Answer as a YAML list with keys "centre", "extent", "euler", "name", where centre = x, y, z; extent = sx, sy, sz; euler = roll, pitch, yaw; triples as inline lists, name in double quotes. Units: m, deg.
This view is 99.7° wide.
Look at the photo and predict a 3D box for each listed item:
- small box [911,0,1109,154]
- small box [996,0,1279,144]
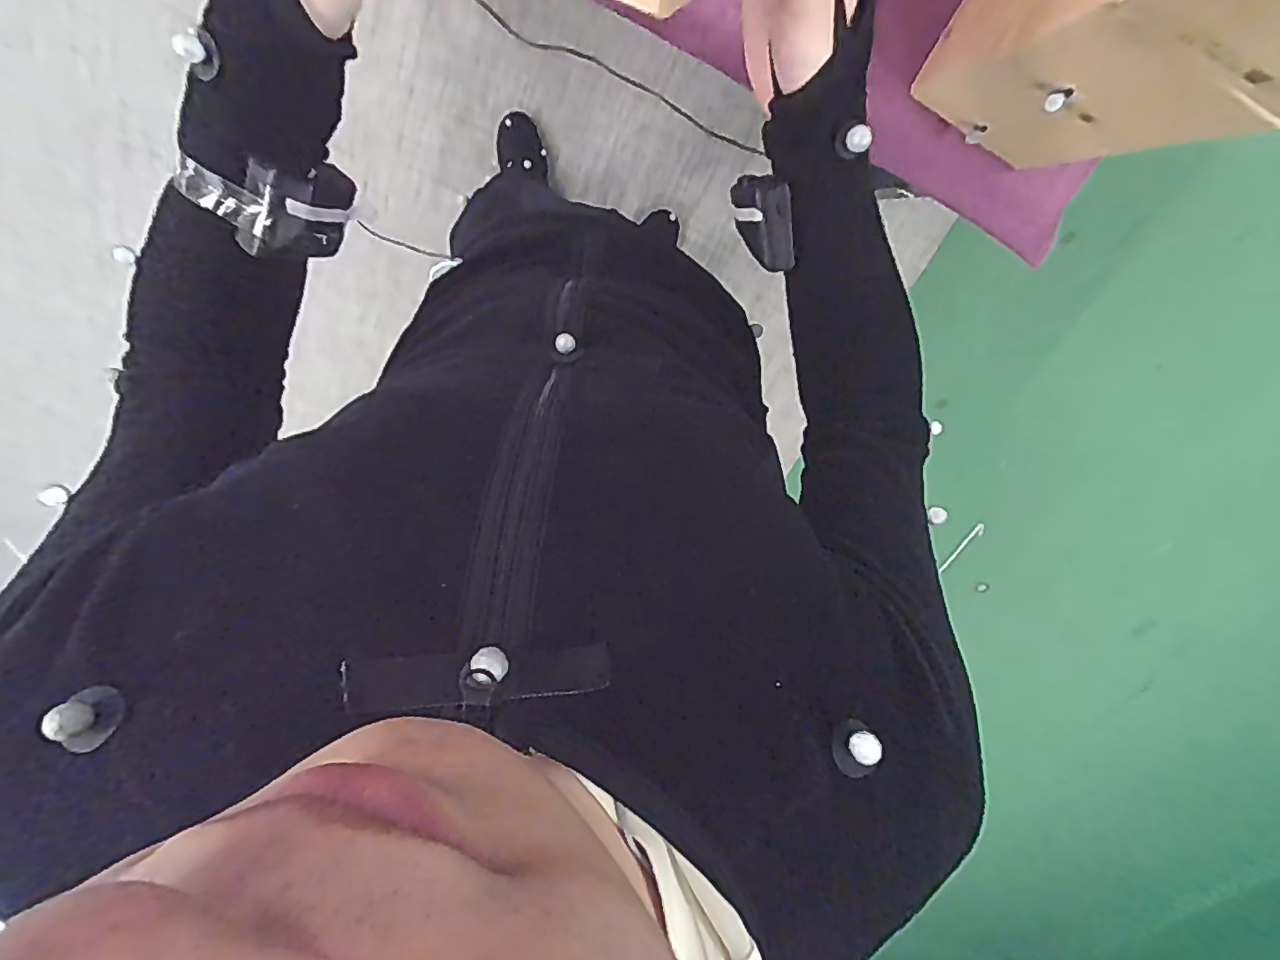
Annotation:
- centre: [0.433, -0.469, 0.566]
  extent: [0.179, 0.176, 0.168]
  euler: [26, 114, -11]
  name: "small box"
- centre: [0.432, -0.398, 0.418]
  extent: [0.168, 0.176, 0.179]
  euler: [27, 114, -9]
  name: "small box"
